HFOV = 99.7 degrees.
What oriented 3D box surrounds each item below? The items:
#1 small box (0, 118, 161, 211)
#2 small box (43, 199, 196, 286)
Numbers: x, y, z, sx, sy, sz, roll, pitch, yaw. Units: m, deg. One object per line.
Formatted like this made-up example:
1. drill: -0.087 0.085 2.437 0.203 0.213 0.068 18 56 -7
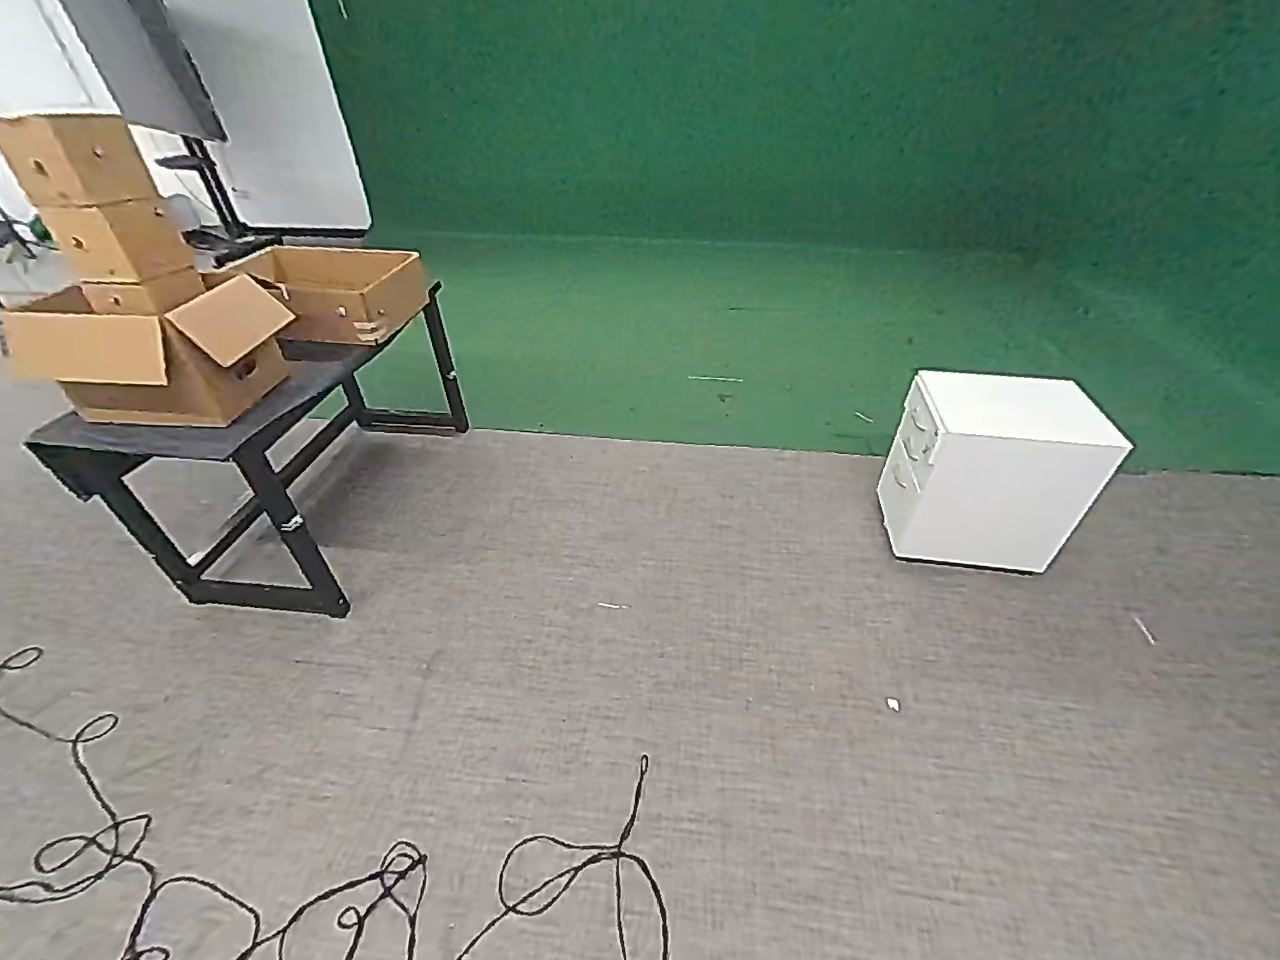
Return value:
1. small box: -1.259 -0.713 1.224 0.168 0.176 0.179 4 35 9
2. small box: -1.251 -0.578 1.318 0.168 0.176 0.179 3 35 7
